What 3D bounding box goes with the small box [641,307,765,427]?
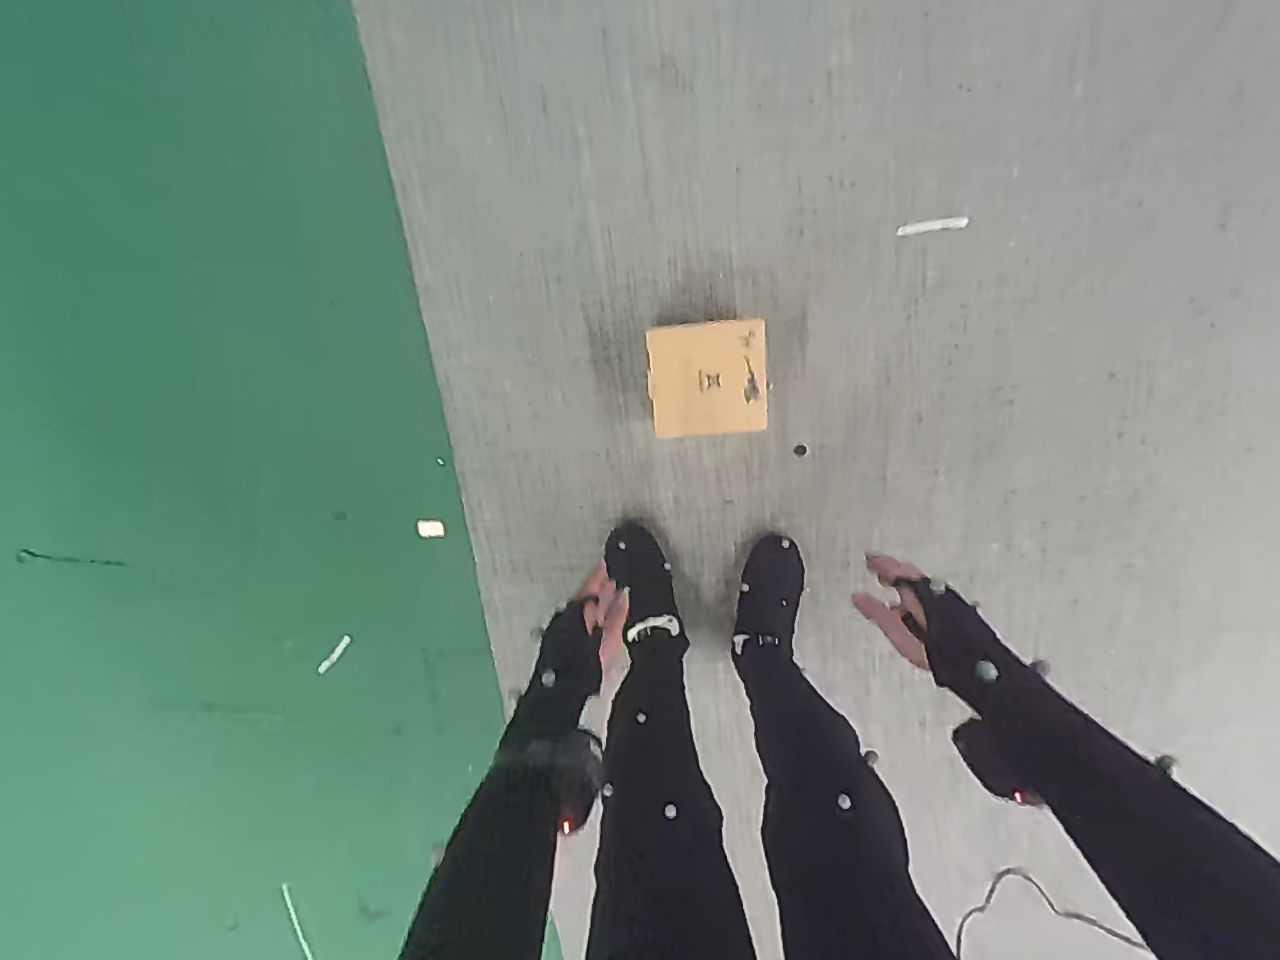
[{"bbox_3d":[0.101,-0.181,0.866,0.179,0.176,0.168,-4,105,5],"label":"small box"}]
